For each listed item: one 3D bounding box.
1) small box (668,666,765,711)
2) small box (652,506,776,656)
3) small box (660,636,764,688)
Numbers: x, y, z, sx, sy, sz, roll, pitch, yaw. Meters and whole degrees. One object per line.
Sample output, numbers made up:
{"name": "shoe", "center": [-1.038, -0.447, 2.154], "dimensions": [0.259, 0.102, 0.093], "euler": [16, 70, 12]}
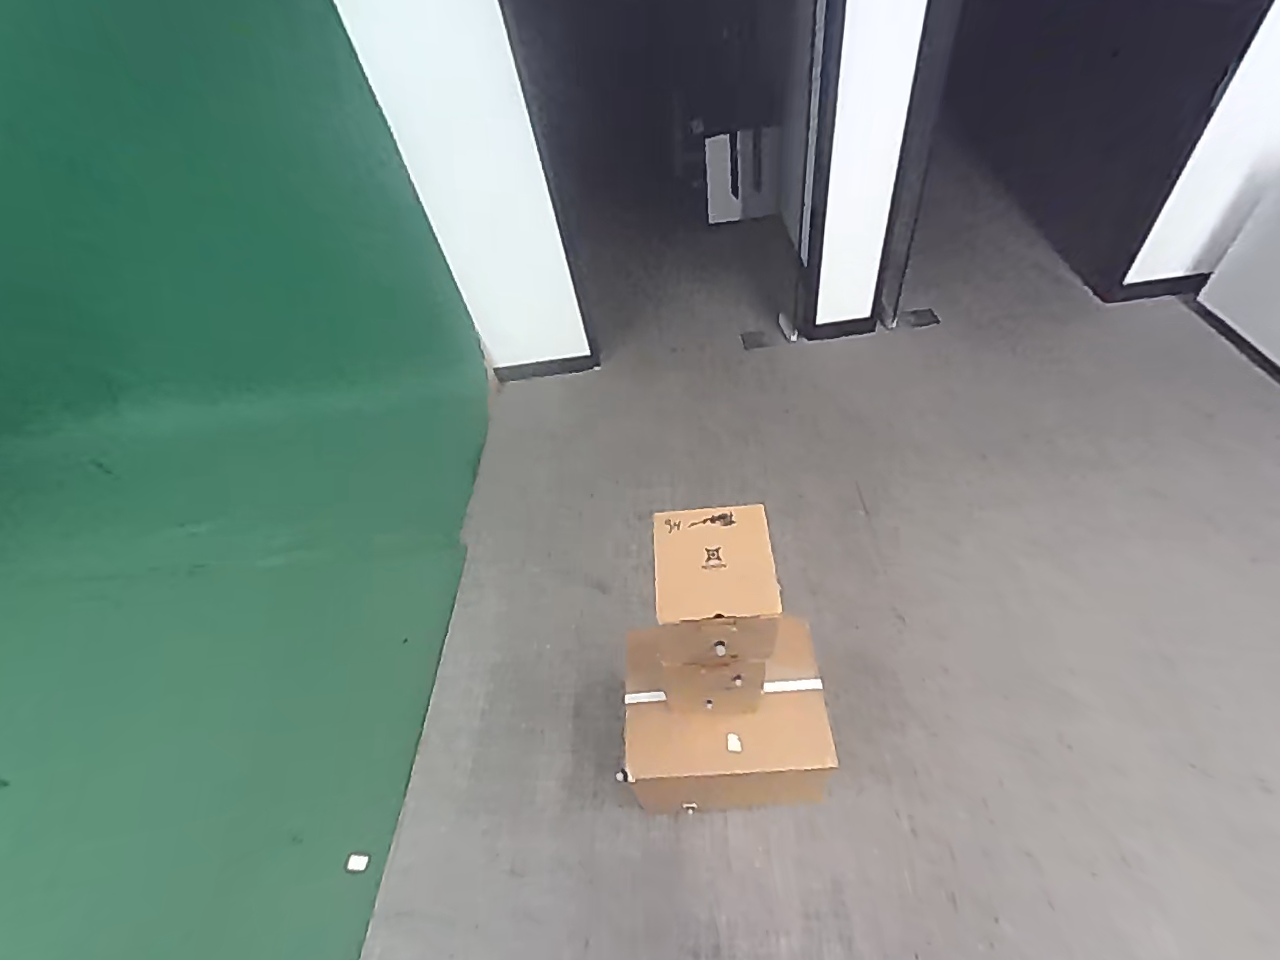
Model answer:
{"name": "small box", "center": [0.147, 0.355, 1.084], "dimensions": [0.179, 0.176, 0.168], "euler": [-6, 54, 6]}
{"name": "small box", "center": [0.111, 0.161, 0.825], "dimensions": [0.168, 0.176, 0.179], "euler": [-5, 54, 6]}
{"name": "small box", "center": [0.124, 0.260, 0.956], "dimensions": [0.168, 0.176, 0.179], "euler": [-6, 53, 5]}
